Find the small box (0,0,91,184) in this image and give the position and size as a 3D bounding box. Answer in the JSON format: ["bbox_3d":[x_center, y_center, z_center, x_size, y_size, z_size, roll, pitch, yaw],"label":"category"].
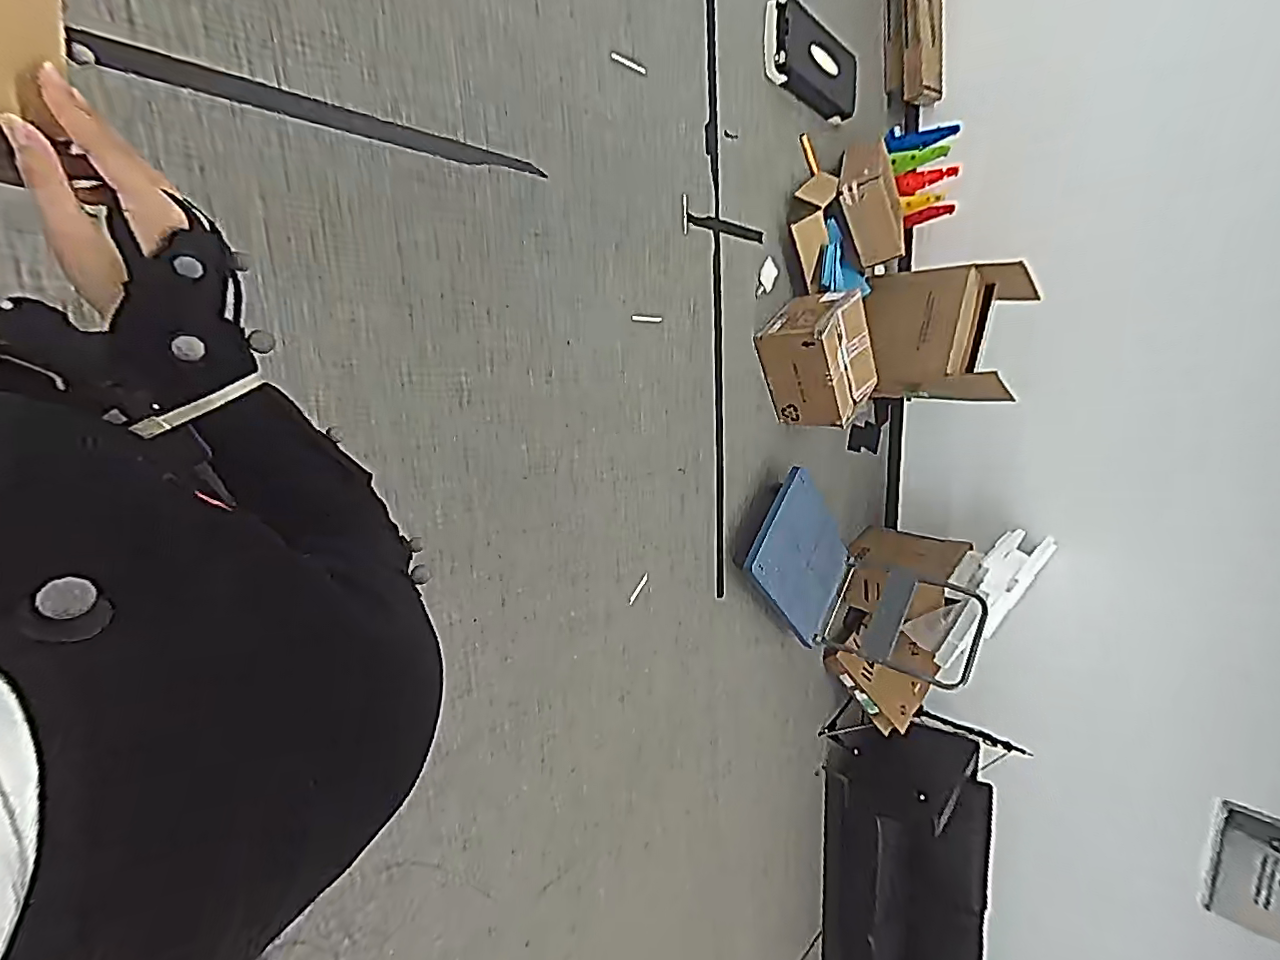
[{"bbox_3d":[-0.418,-0.274,0.278,0.179,0.176,0.168,-4,103,-48],"label":"small box"}]
